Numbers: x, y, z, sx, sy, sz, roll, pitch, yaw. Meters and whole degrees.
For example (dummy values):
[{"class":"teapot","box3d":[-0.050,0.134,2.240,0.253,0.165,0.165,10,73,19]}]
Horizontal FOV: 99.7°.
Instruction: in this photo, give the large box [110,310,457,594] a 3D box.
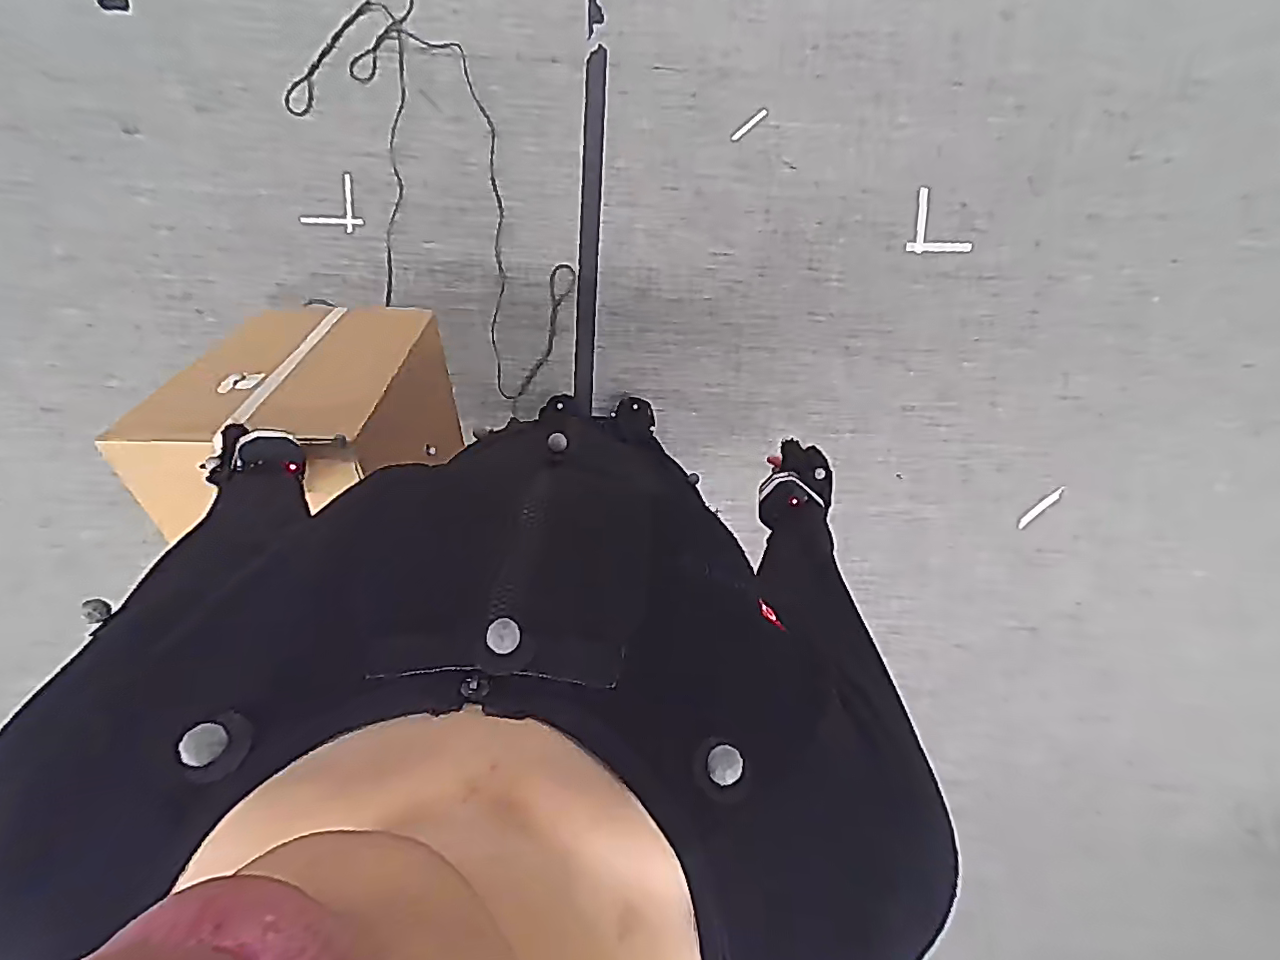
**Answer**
[{"class":"large box","box3d":[-0.528,-0.060,0.926,0.320,0.408,0.320,-1,131,-3]}]
